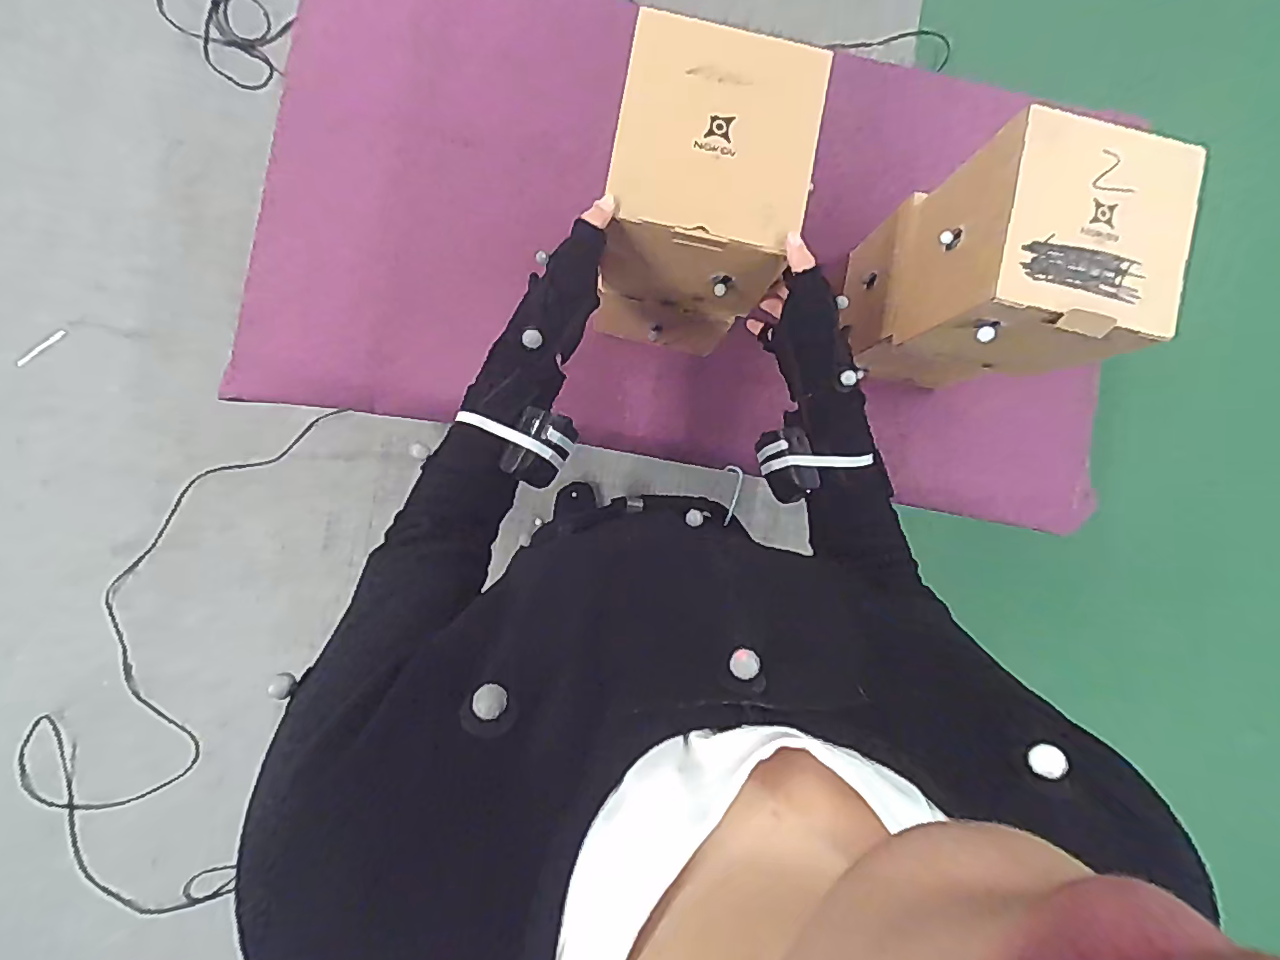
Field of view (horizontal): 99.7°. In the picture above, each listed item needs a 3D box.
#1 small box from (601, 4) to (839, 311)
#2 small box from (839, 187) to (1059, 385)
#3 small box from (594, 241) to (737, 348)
[{"bbox_3d":[0.061,-0.280,0.516,0.168,0.176,0.179,12,90,-4],"label":"small box"},{"bbox_3d":[0.380,-0.232,0.698,0.168,0.176,0.179,13,90,-6],"label":"small box"},{"bbox_3d":[0.042,-0.279,0.678,0.168,0.176,0.179,12,90,-4],"label":"small box"}]
